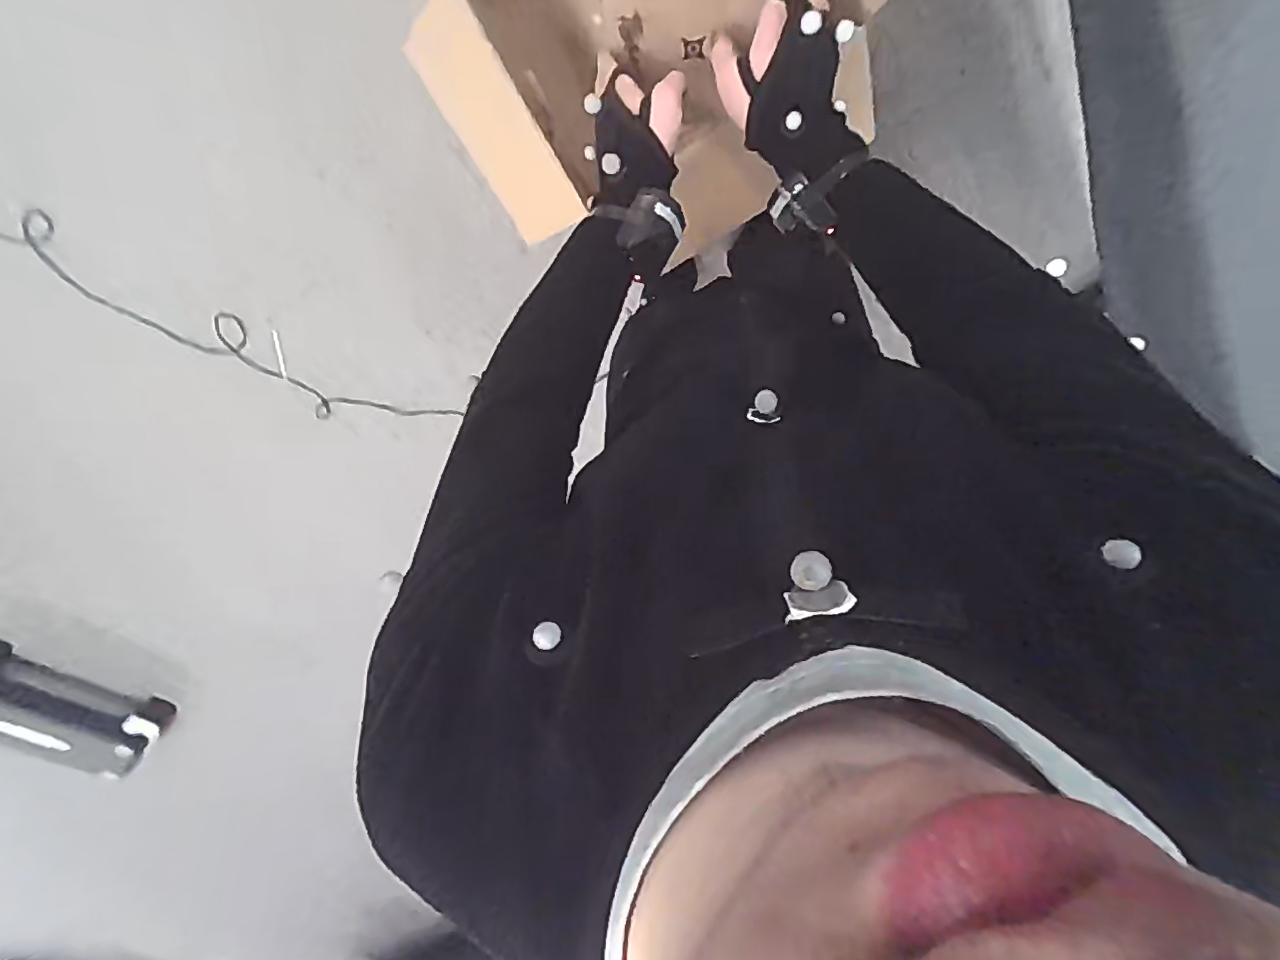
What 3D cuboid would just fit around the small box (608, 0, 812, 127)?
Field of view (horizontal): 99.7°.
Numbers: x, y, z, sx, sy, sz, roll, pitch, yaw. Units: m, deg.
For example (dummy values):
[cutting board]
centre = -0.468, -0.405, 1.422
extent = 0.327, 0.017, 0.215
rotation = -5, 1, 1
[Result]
[small box]
centre = 0.063, -0.477, 0.513
extent = 0.179, 0.168, 0.176
rotation = 0, 78, 4
